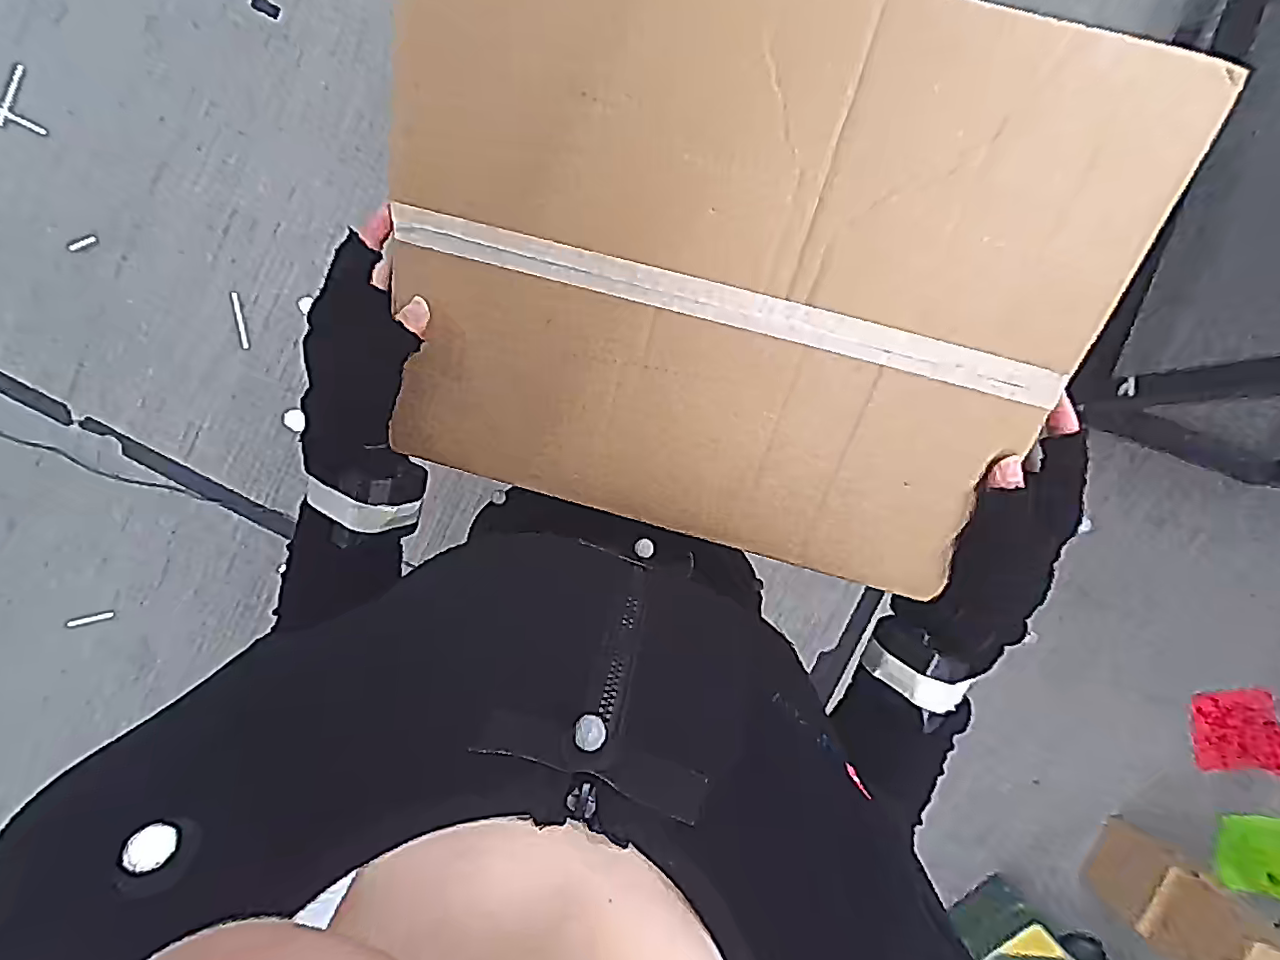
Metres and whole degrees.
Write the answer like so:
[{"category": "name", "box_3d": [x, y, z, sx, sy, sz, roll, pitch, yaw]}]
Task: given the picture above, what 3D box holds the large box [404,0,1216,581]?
[{"category": "large box", "box_3d": [0.070, -0.171, 0.460, 0.408, 0.320, 0.320, 16, 117, 2]}]
